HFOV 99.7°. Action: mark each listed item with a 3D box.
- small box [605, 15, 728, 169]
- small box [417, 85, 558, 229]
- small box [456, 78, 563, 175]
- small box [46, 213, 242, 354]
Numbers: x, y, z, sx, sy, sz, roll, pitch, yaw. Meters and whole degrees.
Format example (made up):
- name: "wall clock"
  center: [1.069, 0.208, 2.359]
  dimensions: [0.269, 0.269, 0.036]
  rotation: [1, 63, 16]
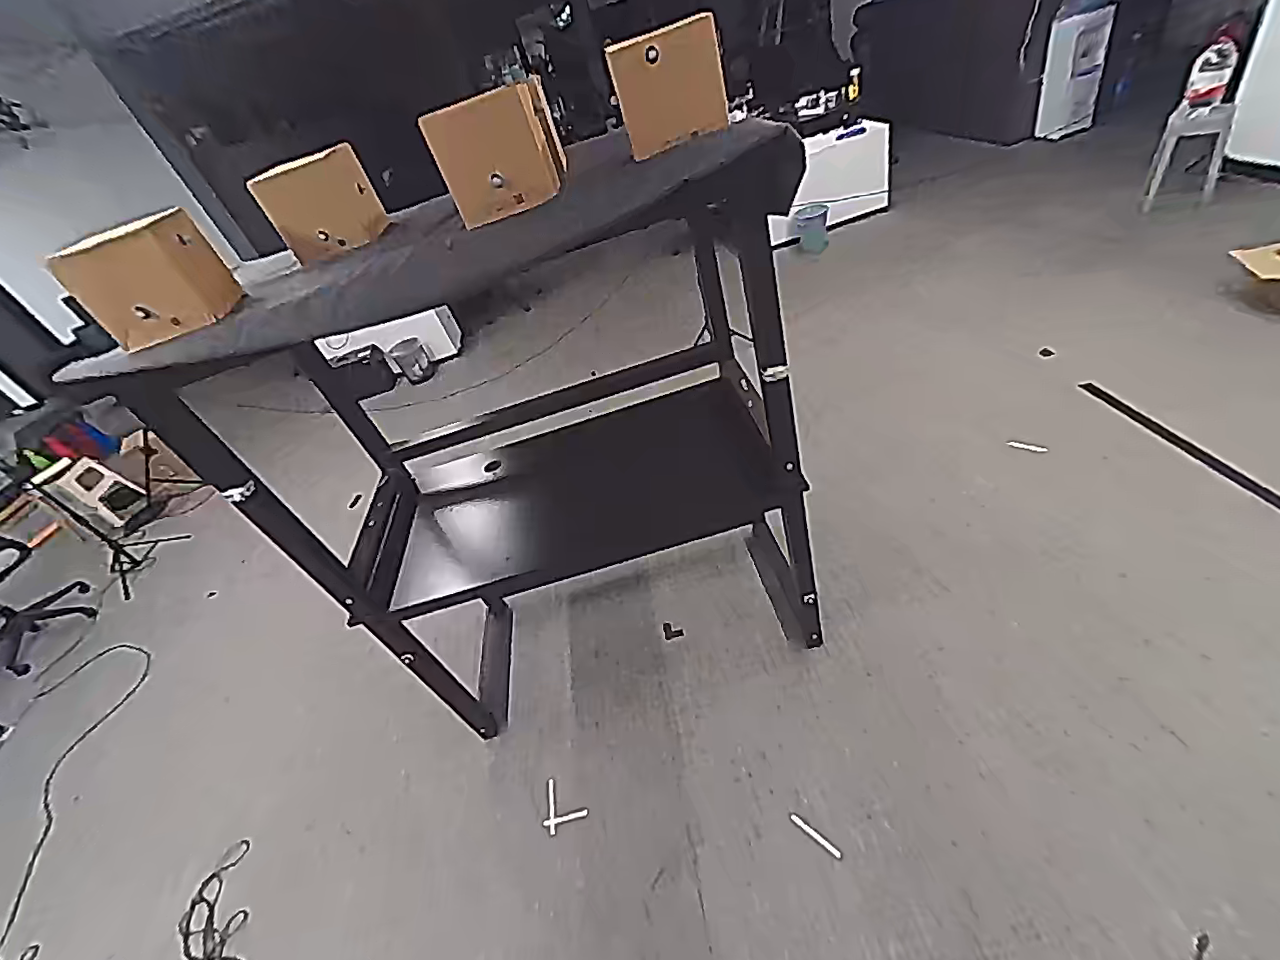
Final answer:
- name: "small box"
  center: [0.043, -0.652, 0.920]
  dimensions: [0.168, 0.176, 0.179]
  rotation: [-16, 38, 8]
- name: "small box"
  center: [-0.249, -0.554, 0.934]
  dimensions: [0.168, 0.176, 0.179]
  rotation: [-17, 37, 6]
- name: "small box"
  center: [-0.268, -0.710, 1.130]
  dimensions: [0.179, 0.176, 0.168]
  rotation: [-16, 38, 6]
- name: "small box"
  center: [-0.861, -0.350, 0.966]
  dimensions: [0.168, 0.176, 0.179]
  rotation: [-23, 40, -4]
